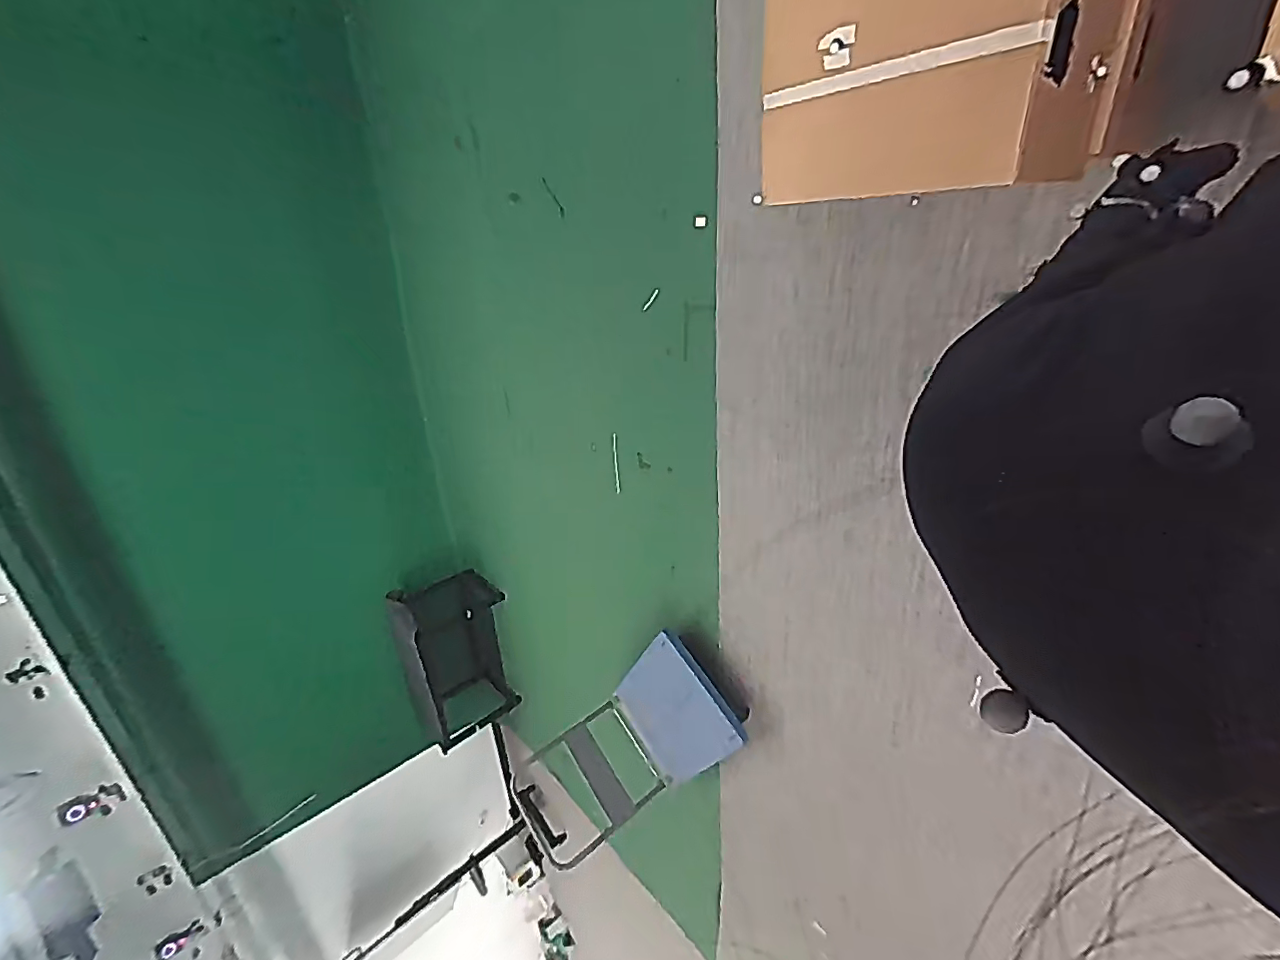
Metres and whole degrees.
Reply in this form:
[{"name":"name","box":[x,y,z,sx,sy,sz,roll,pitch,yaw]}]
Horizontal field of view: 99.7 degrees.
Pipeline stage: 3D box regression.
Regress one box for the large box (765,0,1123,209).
[{"name":"large box","box":[0.457,-0.625,0.856,0.408,0.320,0.320,24,127,45]}]
